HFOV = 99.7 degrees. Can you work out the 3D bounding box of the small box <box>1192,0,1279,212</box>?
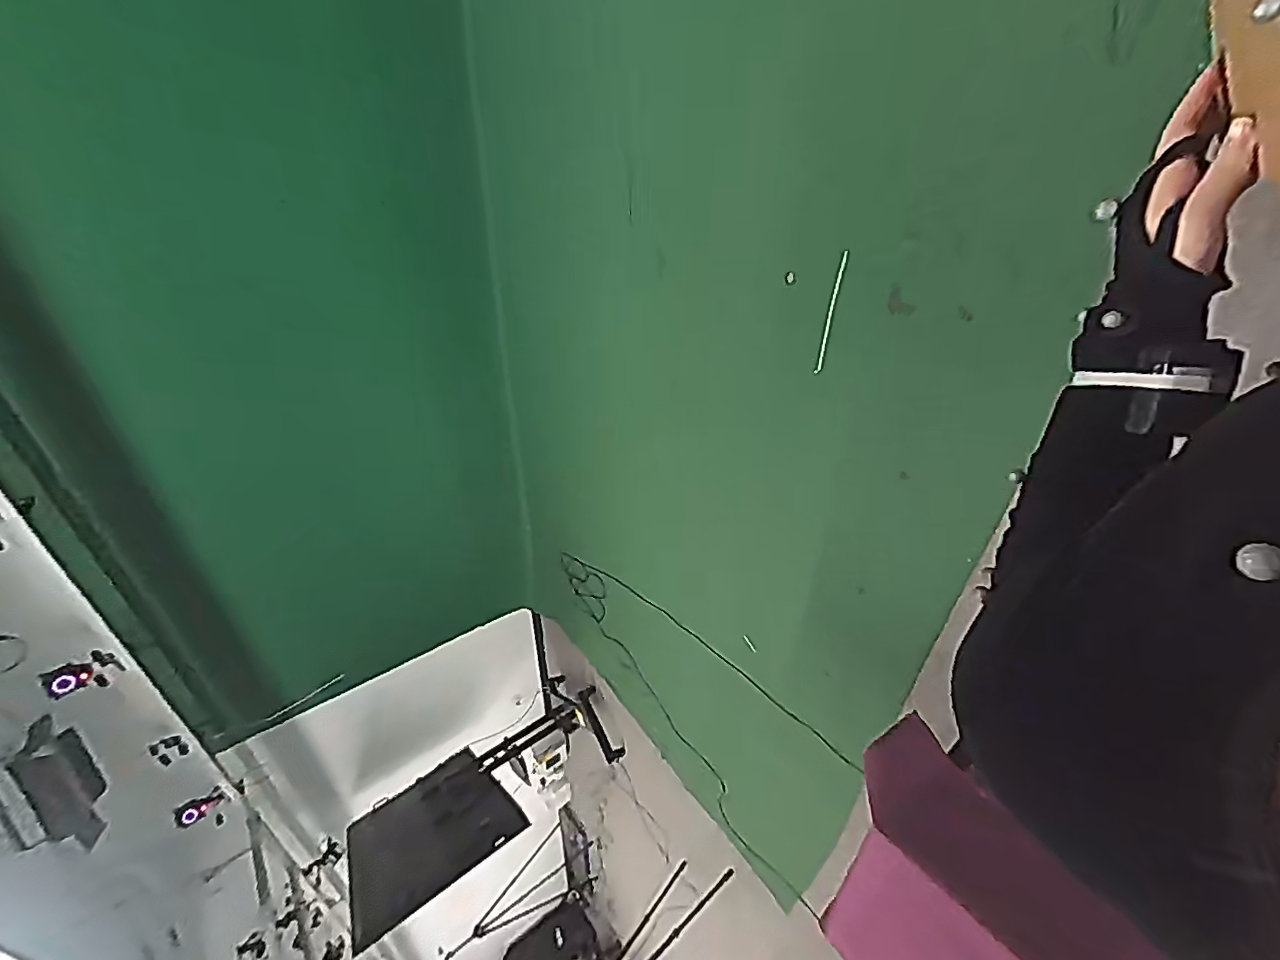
[{"bbox_3d":[0.397,-0.256,0.246,0.179,0.176,0.168,-11,121,38],"label":"small box"}]
